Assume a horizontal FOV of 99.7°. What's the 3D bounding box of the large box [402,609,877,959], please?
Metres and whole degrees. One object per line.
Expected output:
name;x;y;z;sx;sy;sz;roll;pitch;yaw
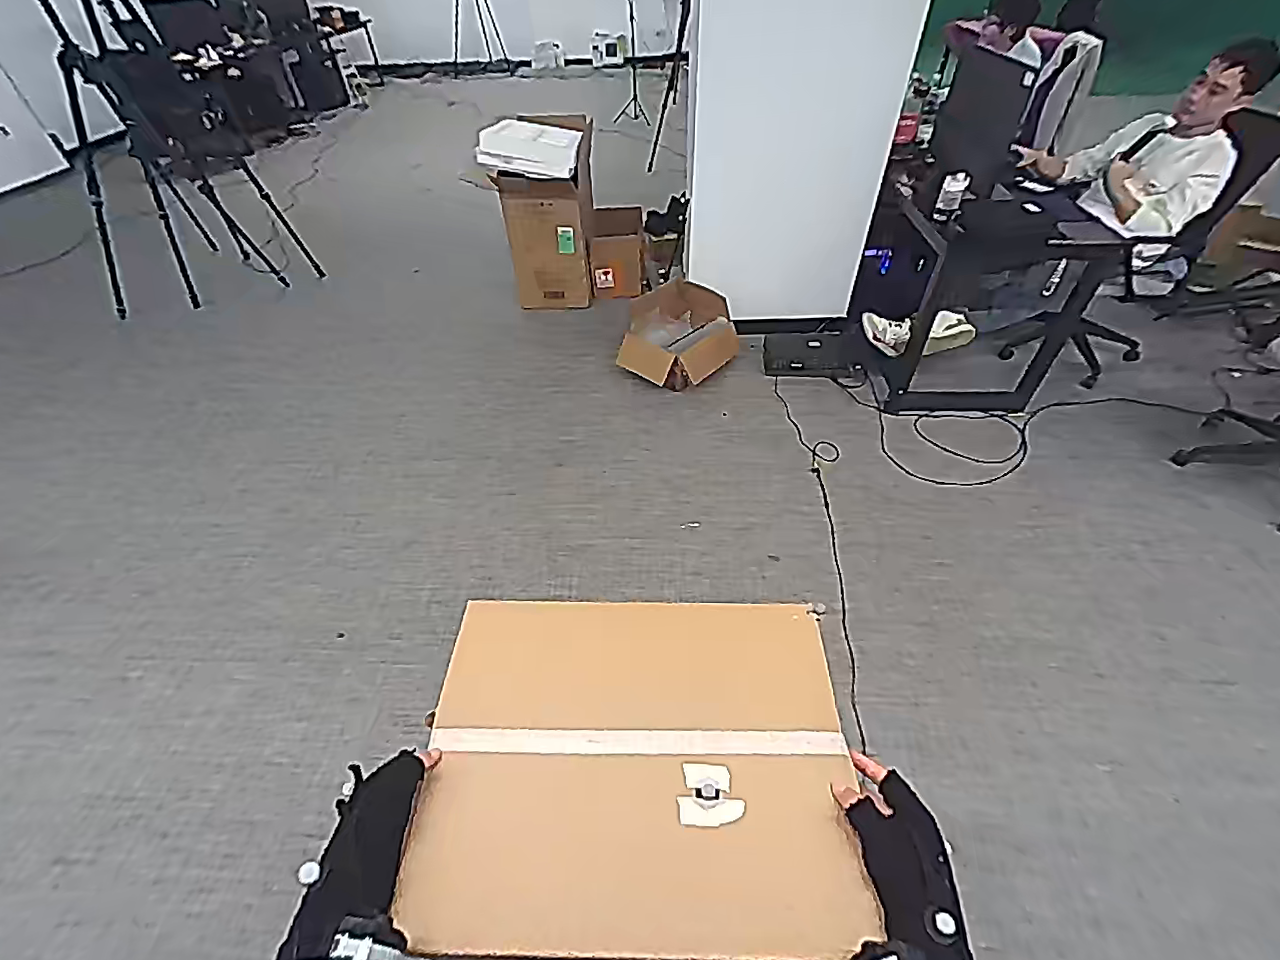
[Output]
large box;-0.001;0.370;0.652;0.408;0.320;0.320;1;47;1
